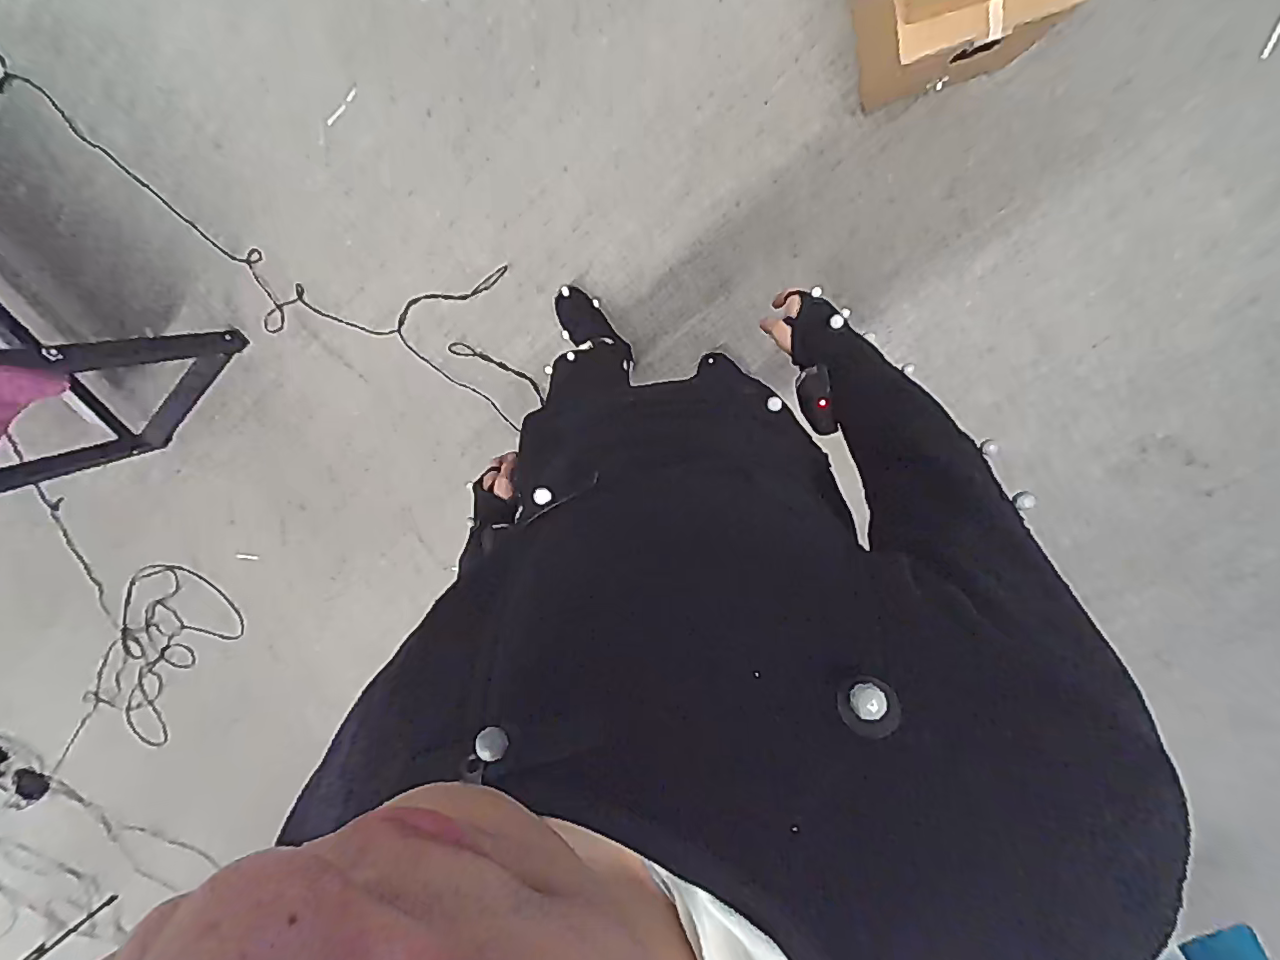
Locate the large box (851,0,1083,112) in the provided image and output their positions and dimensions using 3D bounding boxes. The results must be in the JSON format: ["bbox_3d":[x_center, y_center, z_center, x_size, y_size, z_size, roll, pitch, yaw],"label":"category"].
[{"bbox_3d":[0.598,-1.024,1.042,0.320,0.320,0.408,-12,107,12],"label":"large box"}]

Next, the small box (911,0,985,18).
[{"bbox_3d":[0.533,-0.872,0.843,0.179,0.176,0.168,-7,109,13],"label":"small box"}]
